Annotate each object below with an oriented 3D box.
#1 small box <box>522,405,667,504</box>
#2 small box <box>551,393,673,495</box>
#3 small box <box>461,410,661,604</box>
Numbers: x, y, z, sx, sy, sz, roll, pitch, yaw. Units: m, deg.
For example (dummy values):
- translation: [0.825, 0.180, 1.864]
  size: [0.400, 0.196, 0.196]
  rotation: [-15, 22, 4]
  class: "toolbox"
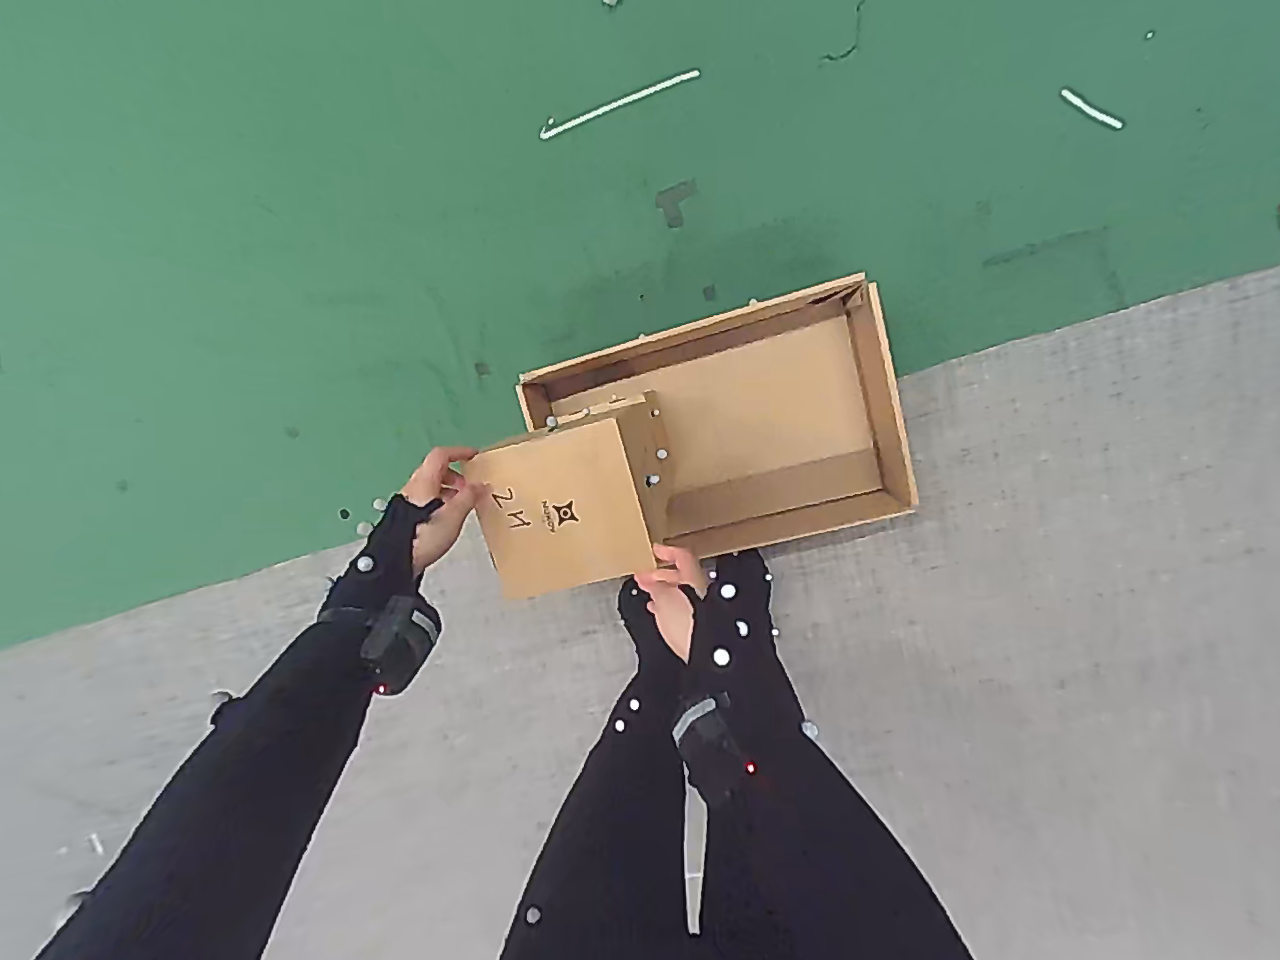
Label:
- translation: [-0.065, -0.014, 0.839]
  size: [0.179, 0.176, 0.168]
  rotation: [-15, 99, 9]
  class: "small box"
- translation: [-0.042, -0.055, 0.997]
  size: [0.168, 0.176, 0.179]
  rotation: [-15, 99, 10]
  class: "small box"
- translation: [-0.075, 0.021, 0.638]
  size: [0.179, 0.176, 0.168]
  rotation: [-14, 101, 9]
  class: "small box"
